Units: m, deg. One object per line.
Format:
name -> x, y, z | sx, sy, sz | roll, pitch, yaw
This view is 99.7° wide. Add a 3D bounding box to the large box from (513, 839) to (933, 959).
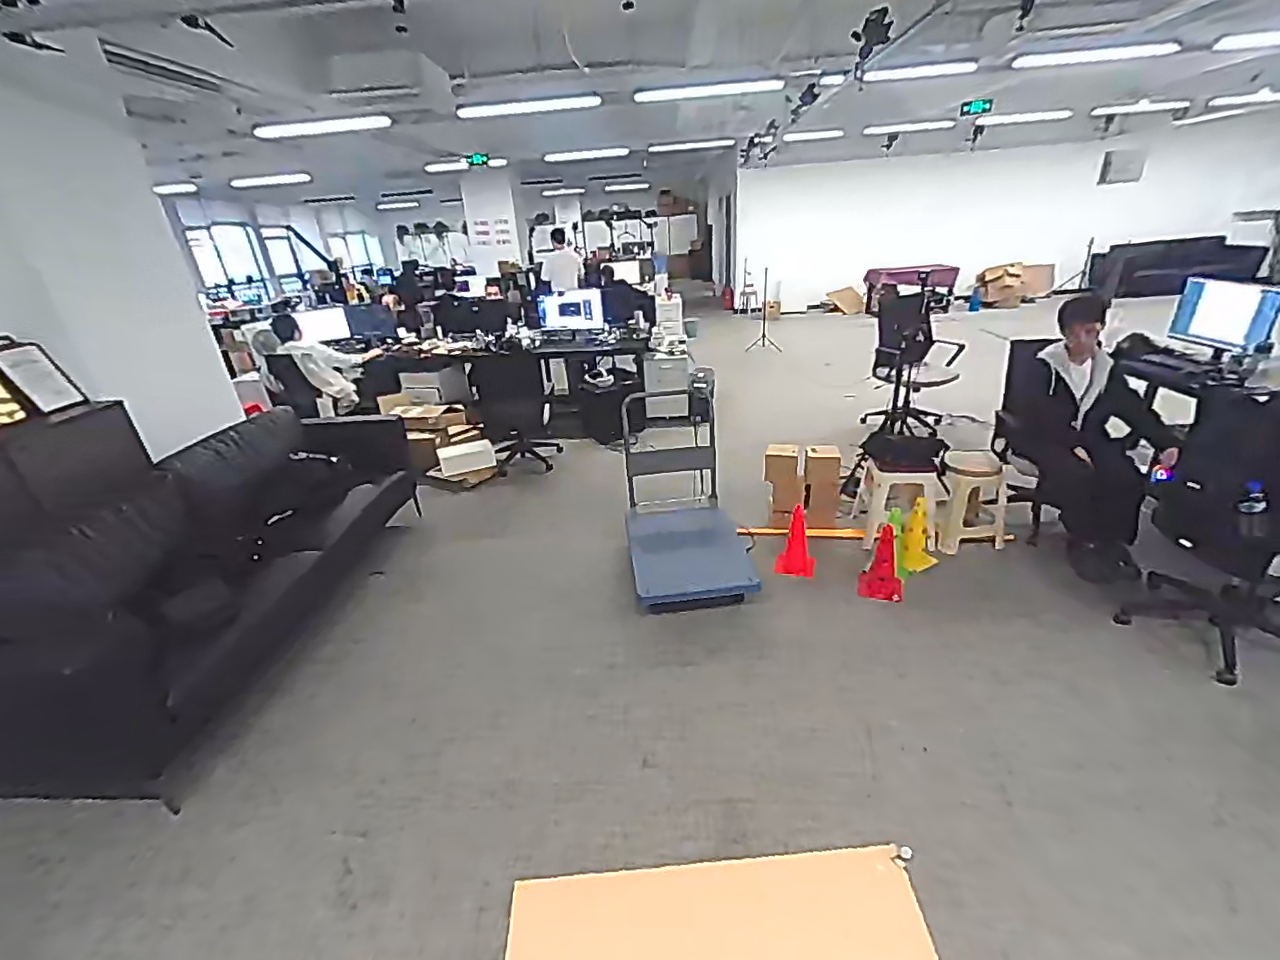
large box -> 0.089, 0.618, 0.547 | 0.408, 0.320, 0.320 | -6, 38, 0
